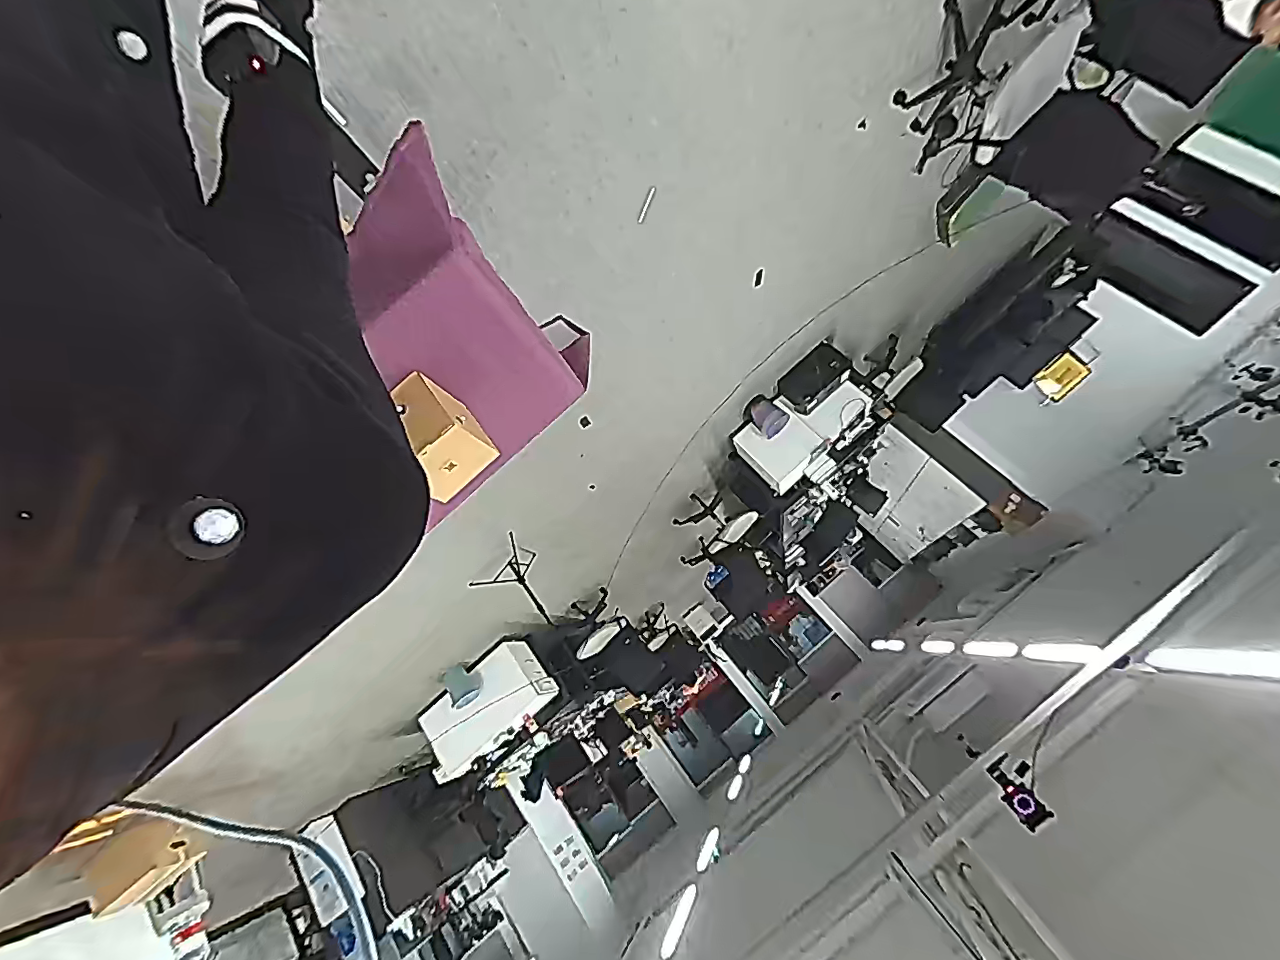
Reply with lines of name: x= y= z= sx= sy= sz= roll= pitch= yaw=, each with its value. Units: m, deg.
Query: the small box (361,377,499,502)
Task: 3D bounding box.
small box: x=-0.436 y=-0.085 z=1.133 sx=0.168 sy=0.176 sz=0.179 roll=-42 pitch=157 yaw=1
